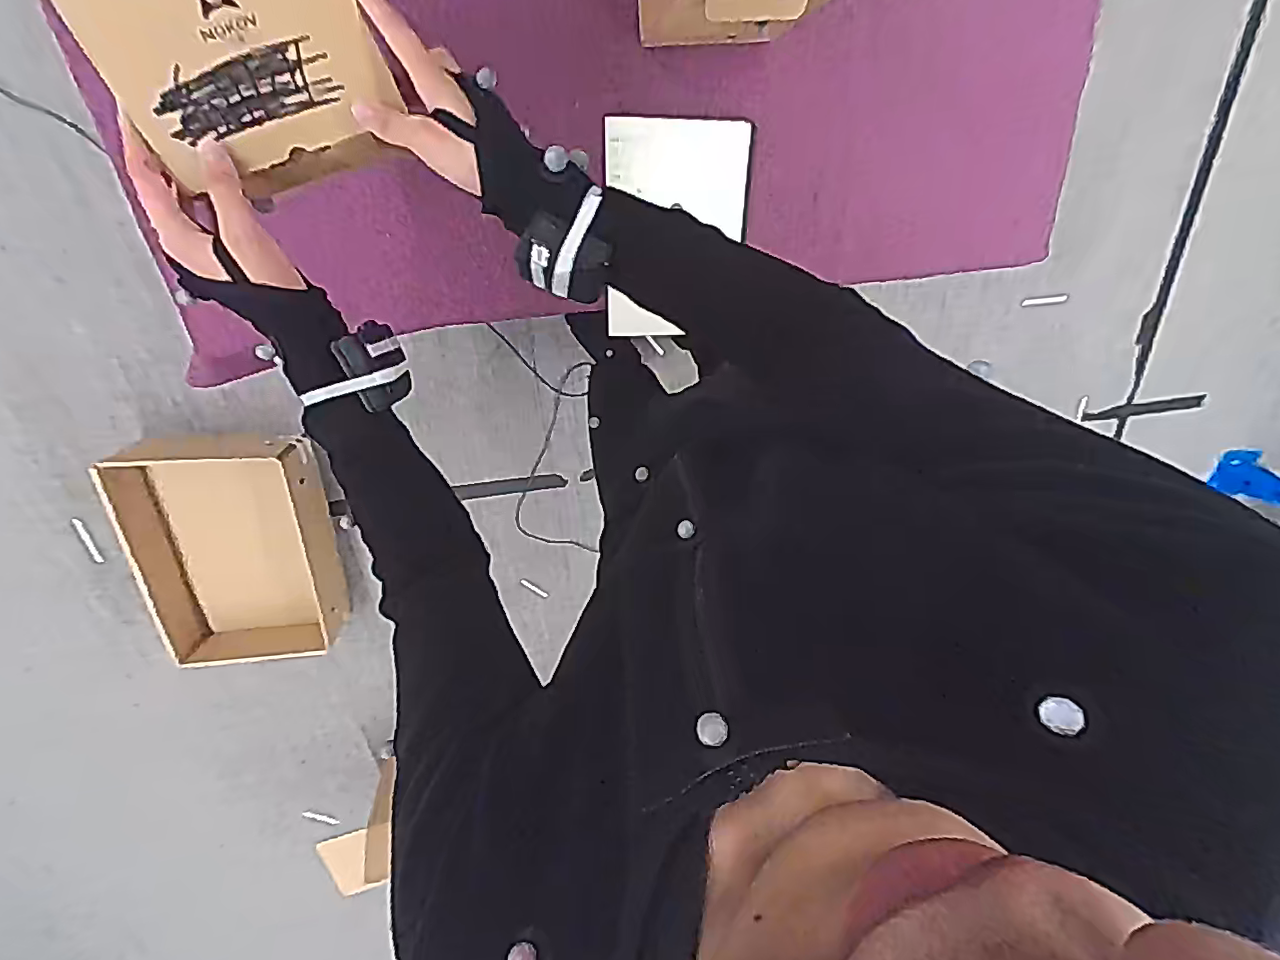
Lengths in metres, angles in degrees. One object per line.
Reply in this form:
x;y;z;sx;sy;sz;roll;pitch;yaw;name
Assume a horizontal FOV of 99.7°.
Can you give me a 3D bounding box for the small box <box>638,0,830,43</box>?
0.089;-0.556;0.532;0.168;0.176;0.179;-8;116;-8;small box
